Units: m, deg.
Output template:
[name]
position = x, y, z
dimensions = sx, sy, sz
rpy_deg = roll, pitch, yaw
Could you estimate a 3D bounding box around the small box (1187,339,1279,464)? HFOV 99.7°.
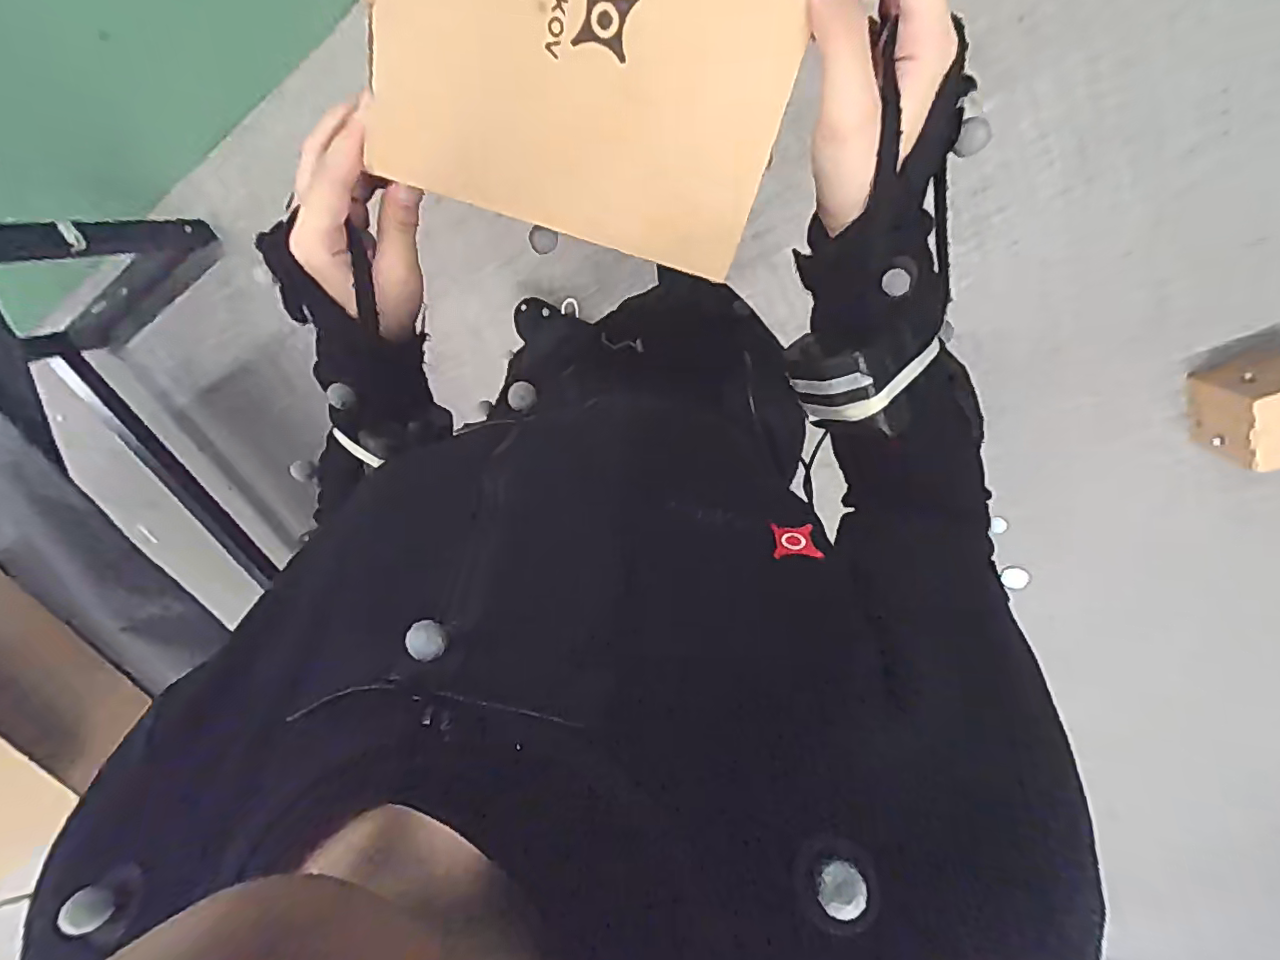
[small box]
position = 1.244, -0.159, 1.074
dimensions = 0.179, 0.176, 0.168
rpy_deg = -20, 113, 17
